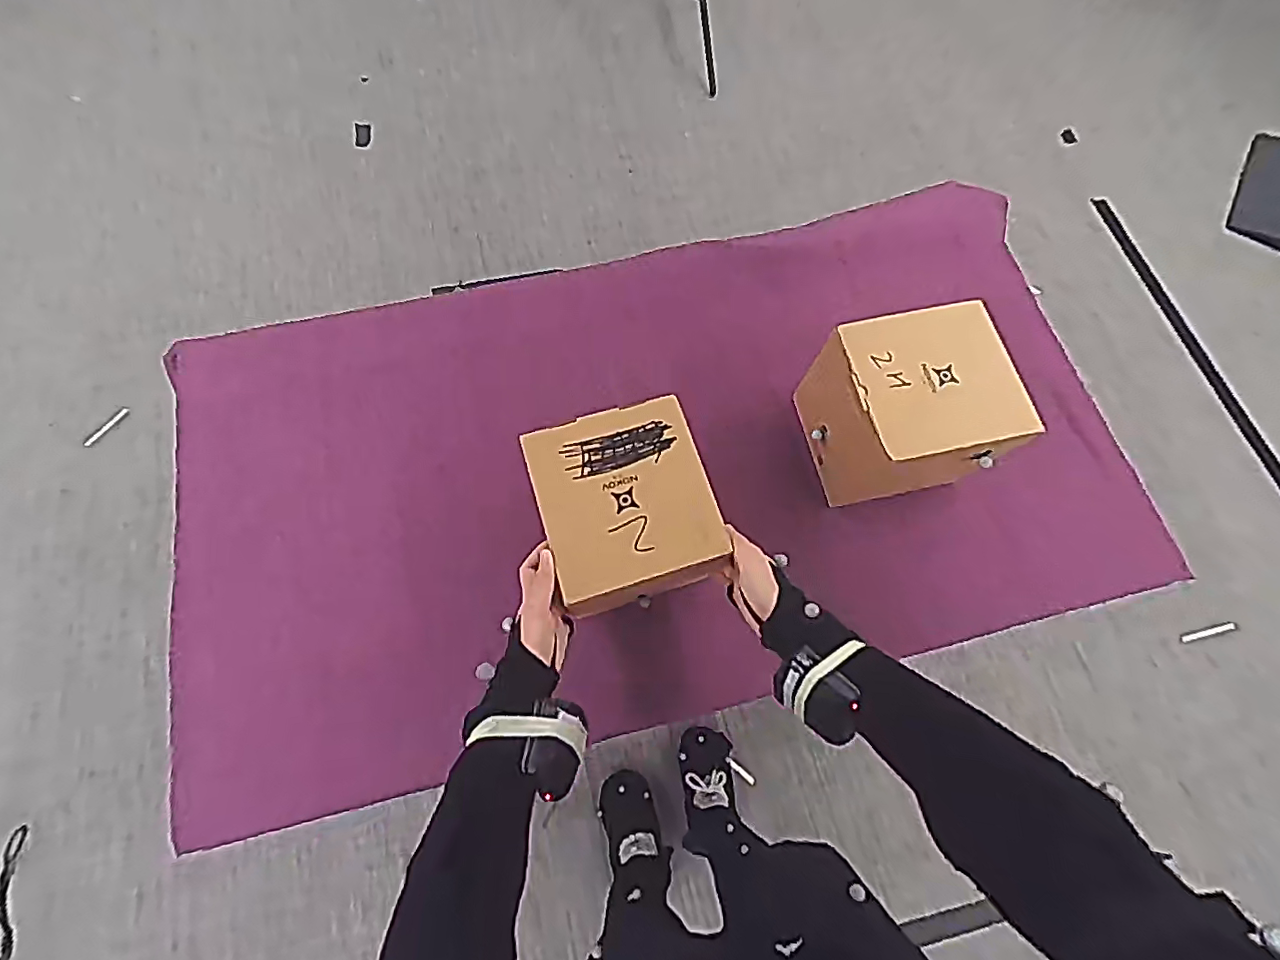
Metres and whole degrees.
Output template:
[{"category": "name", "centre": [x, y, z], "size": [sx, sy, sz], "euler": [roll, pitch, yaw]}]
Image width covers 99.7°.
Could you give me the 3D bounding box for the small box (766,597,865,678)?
[{"category": "small box", "centre": [0.403, 0.369, 1.267], "size": [0.179, 0.176, 0.168], "euler": [3, 72, 1]}]

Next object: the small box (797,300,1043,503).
[{"category": "small box", "centre": [0.312, -0.084, 0.645], "size": [0.179, 0.176, 0.168], "euler": [-11, 71, -4]}]

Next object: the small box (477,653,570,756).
[{"category": "small box", "centre": [-0.256, 0.497, 1.209], "size": [0.168, 0.176, 0.179], "euler": [-11, 71, -5]}]
